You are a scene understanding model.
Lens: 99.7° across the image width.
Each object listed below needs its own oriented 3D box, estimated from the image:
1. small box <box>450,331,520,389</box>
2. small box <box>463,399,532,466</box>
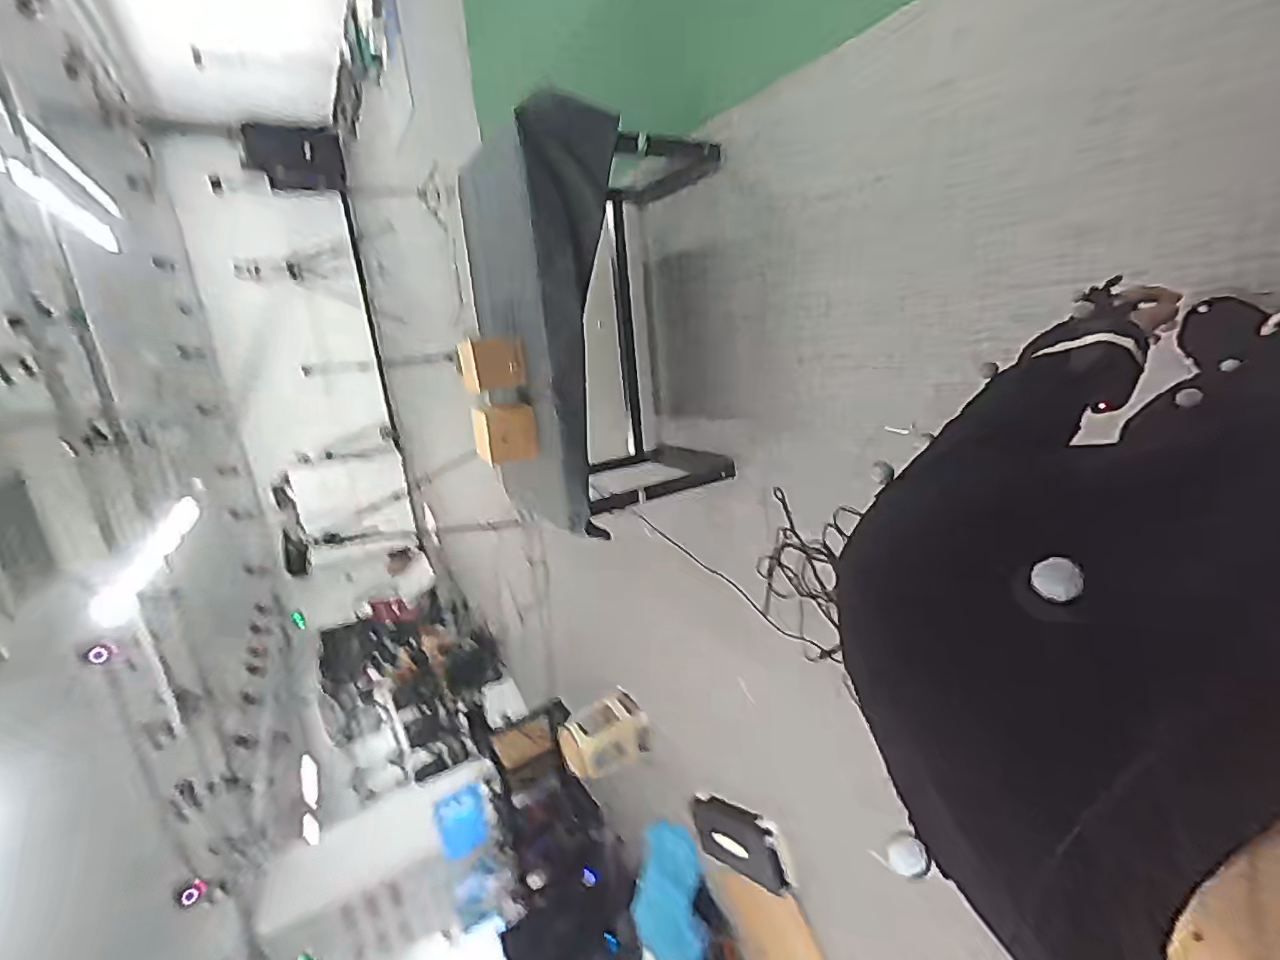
[{"bbox_3d":[-0.509,-0.392,1.778,0.179,0.176,0.168,11,113,56],"label":"small box"},{"bbox_3d":[-0.477,-0.167,1.817,0.168,0.176,0.179,28,126,51],"label":"small box"}]
